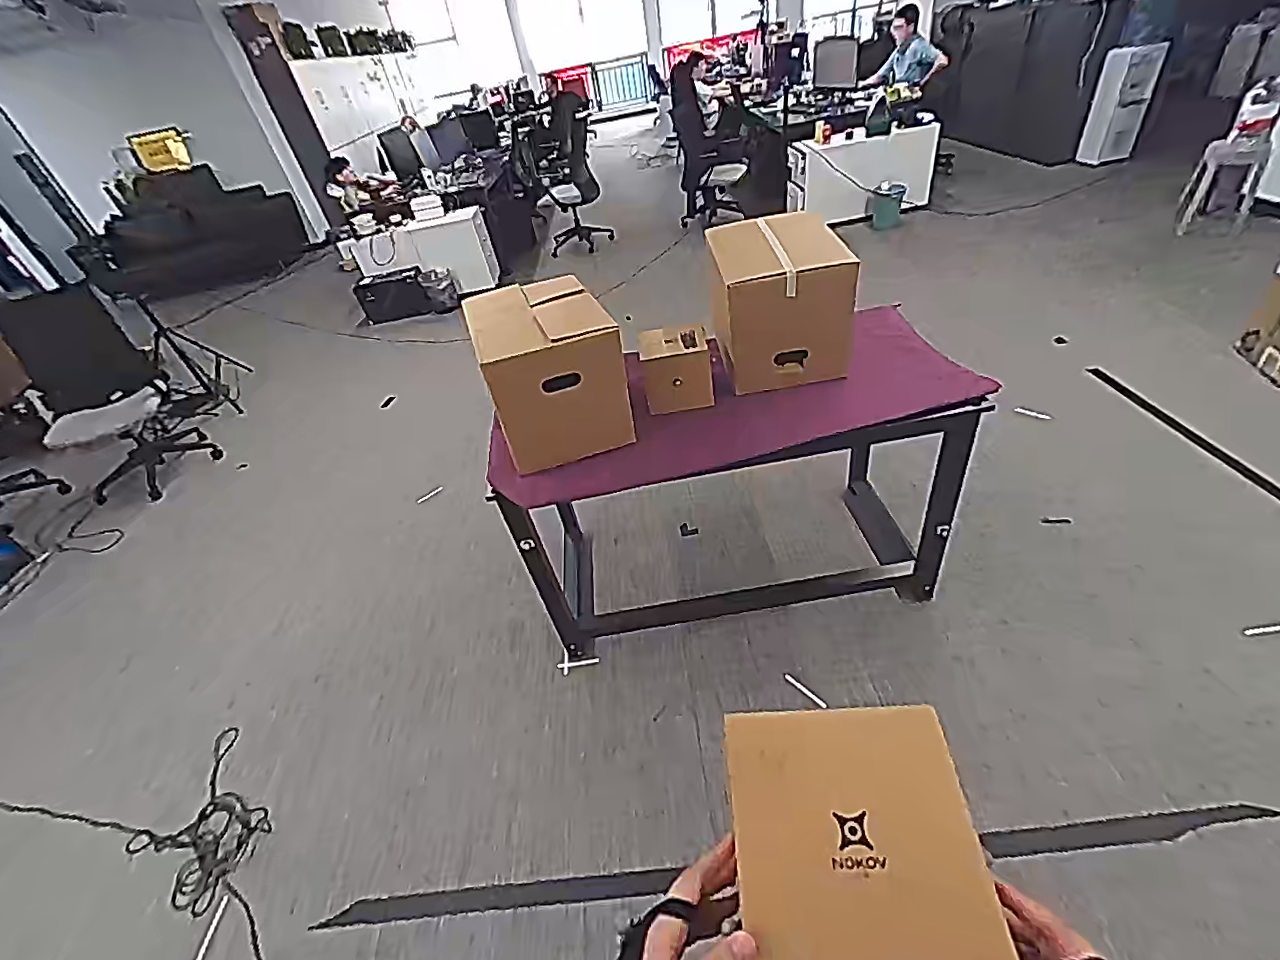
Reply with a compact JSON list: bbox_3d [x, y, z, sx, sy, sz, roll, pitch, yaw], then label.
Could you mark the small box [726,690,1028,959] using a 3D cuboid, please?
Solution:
[{"bbox_3d":[0.160,0.289,0.437,0.168,0.176,0.179,-5,49,5],"label":"small box"}]
